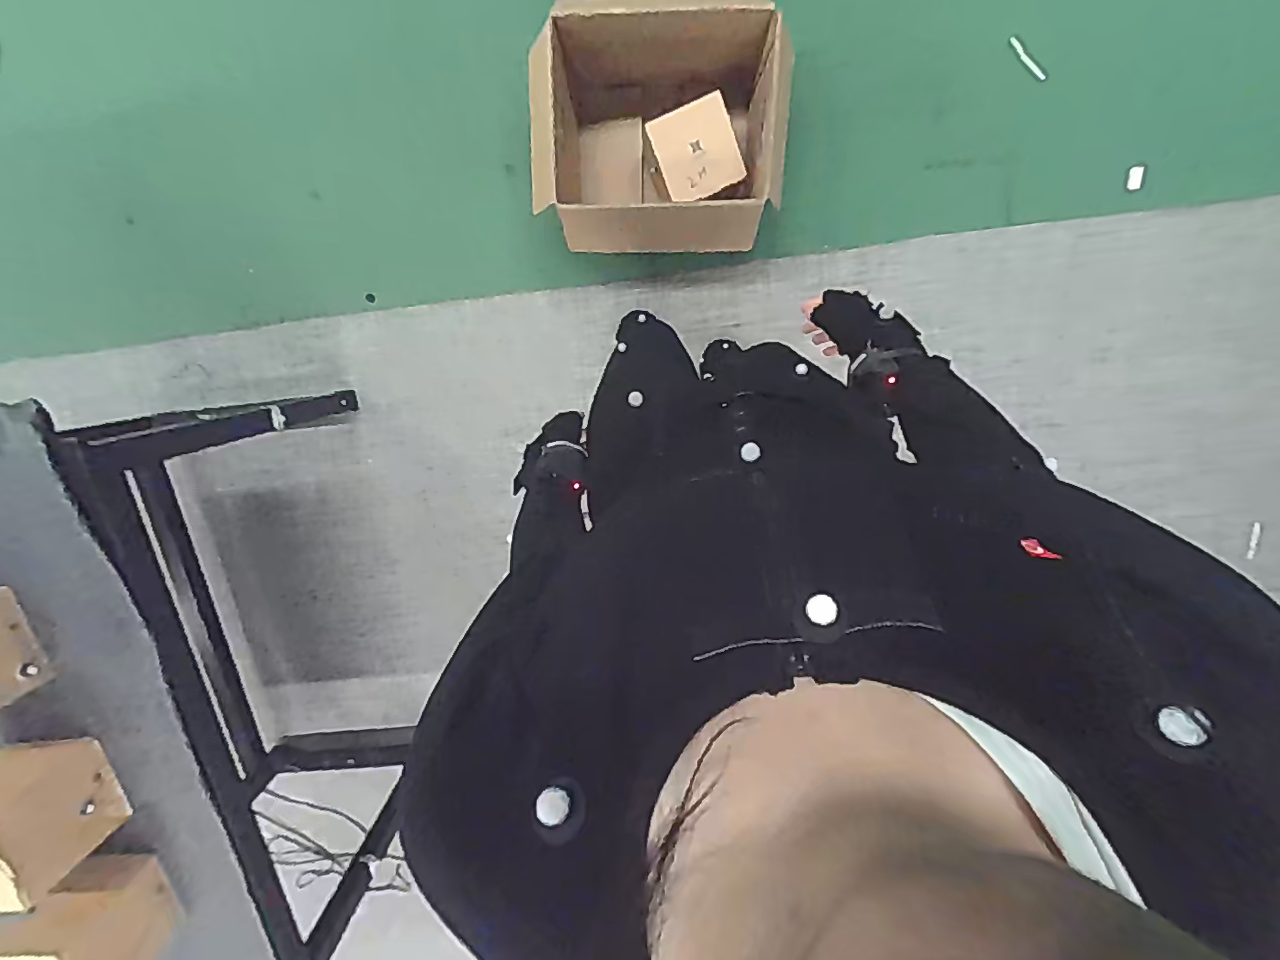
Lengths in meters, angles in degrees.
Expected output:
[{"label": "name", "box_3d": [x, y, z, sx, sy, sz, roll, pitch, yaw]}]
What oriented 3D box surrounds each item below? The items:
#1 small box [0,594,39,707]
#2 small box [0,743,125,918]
[{"label": "small box", "box_3d": [-1.041, 0.275, 0.777, 0.179, 0.176, 0.168, -7, 105, 5]}, {"label": "small box", "box_3d": [-0.989, 0.543, 0.850, 0.179, 0.176, 0.168, -7, 104, 4]}]
